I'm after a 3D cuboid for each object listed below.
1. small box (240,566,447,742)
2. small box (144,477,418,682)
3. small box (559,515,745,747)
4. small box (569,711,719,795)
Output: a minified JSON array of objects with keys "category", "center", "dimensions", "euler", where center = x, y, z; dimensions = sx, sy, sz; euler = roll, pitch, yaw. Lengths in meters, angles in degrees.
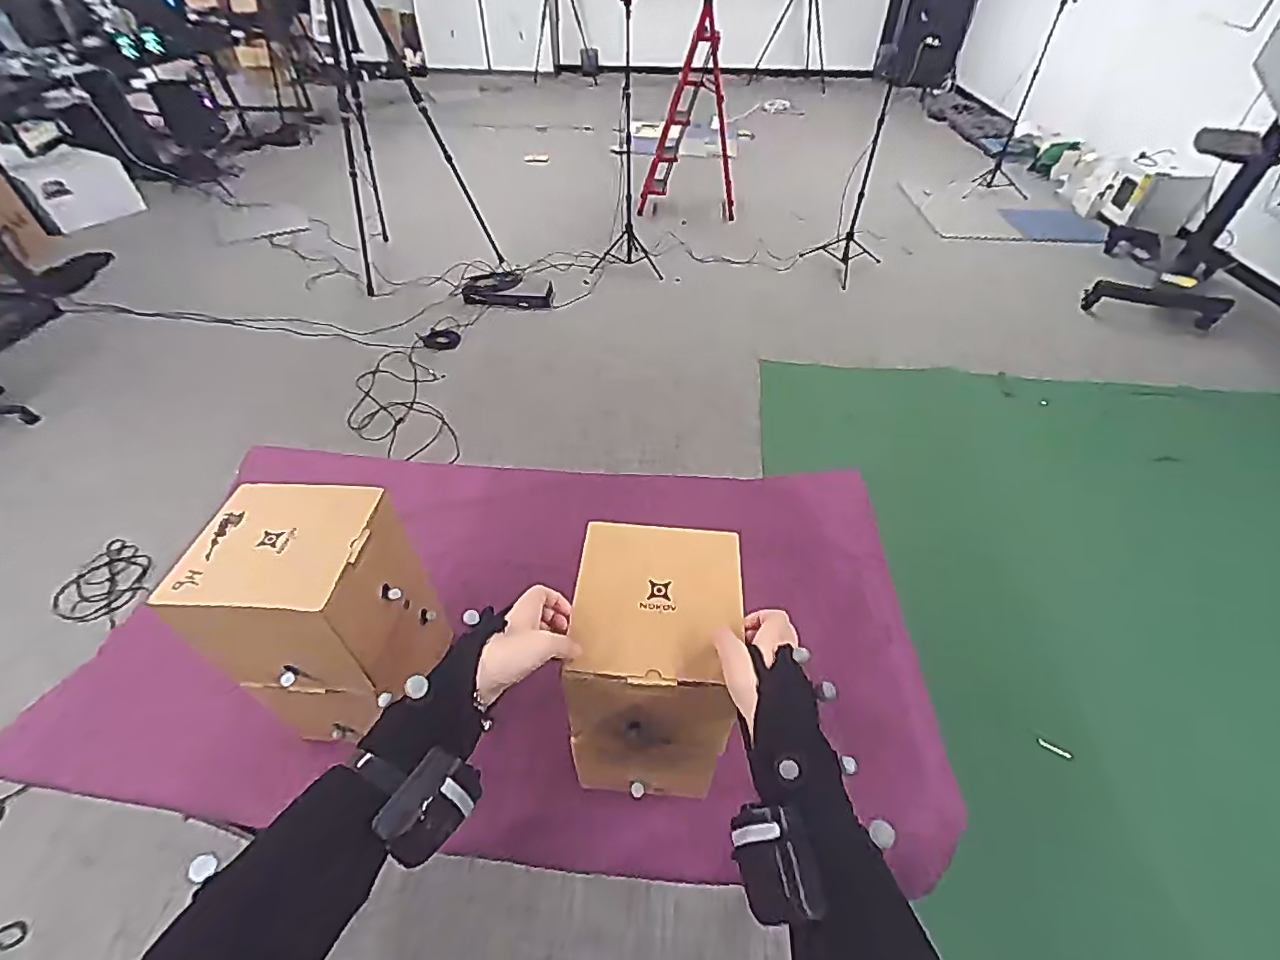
[{"category":"small box","center":[-0.380,0.231,0.737],"dimensions":[0.168,0.176,0.179],"euler":[2,45,3]},{"category":"small box","center":[-0.381,0.116,0.621],"dimensions":[0.179,0.176,0.168],"euler":[3,44,2]},{"category":"small box","center":[0.014,0.161,0.581],"dimensions":[0.168,0.176,0.179],"euler":[4,47,2]},{"category":"small box","center":[0.010,0.279,0.695],"dimensions":[0.168,0.176,0.179],"euler":[4,46,4]}]
